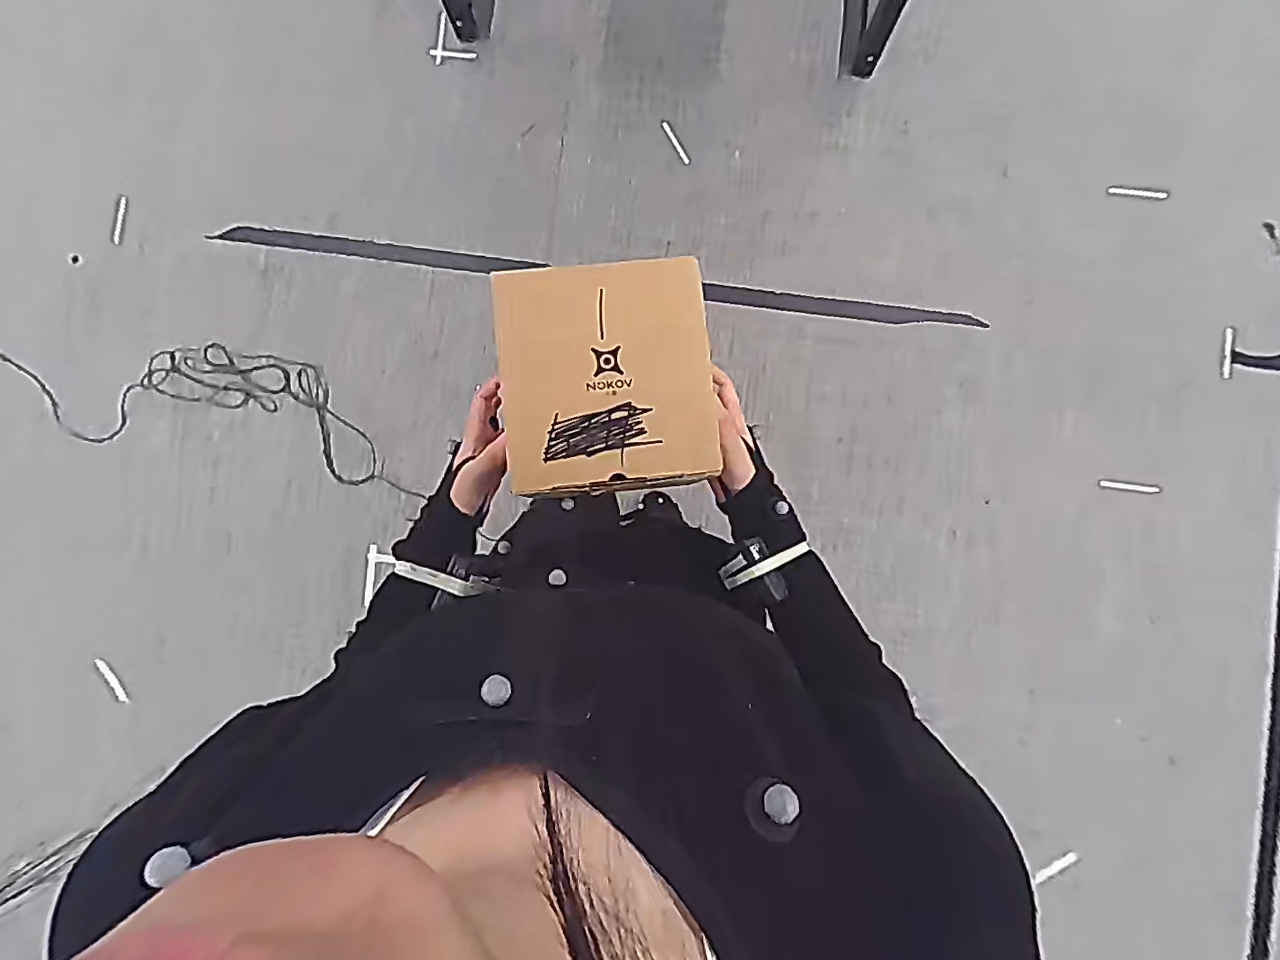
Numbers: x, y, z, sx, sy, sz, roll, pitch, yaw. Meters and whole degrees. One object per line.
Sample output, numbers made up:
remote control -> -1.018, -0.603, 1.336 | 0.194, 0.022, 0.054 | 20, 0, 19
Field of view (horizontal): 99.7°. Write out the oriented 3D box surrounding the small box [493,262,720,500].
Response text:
small box -> -0.030, -0.074, 0.498 | 0.168, 0.176, 0.179 | -6, 86, -4
